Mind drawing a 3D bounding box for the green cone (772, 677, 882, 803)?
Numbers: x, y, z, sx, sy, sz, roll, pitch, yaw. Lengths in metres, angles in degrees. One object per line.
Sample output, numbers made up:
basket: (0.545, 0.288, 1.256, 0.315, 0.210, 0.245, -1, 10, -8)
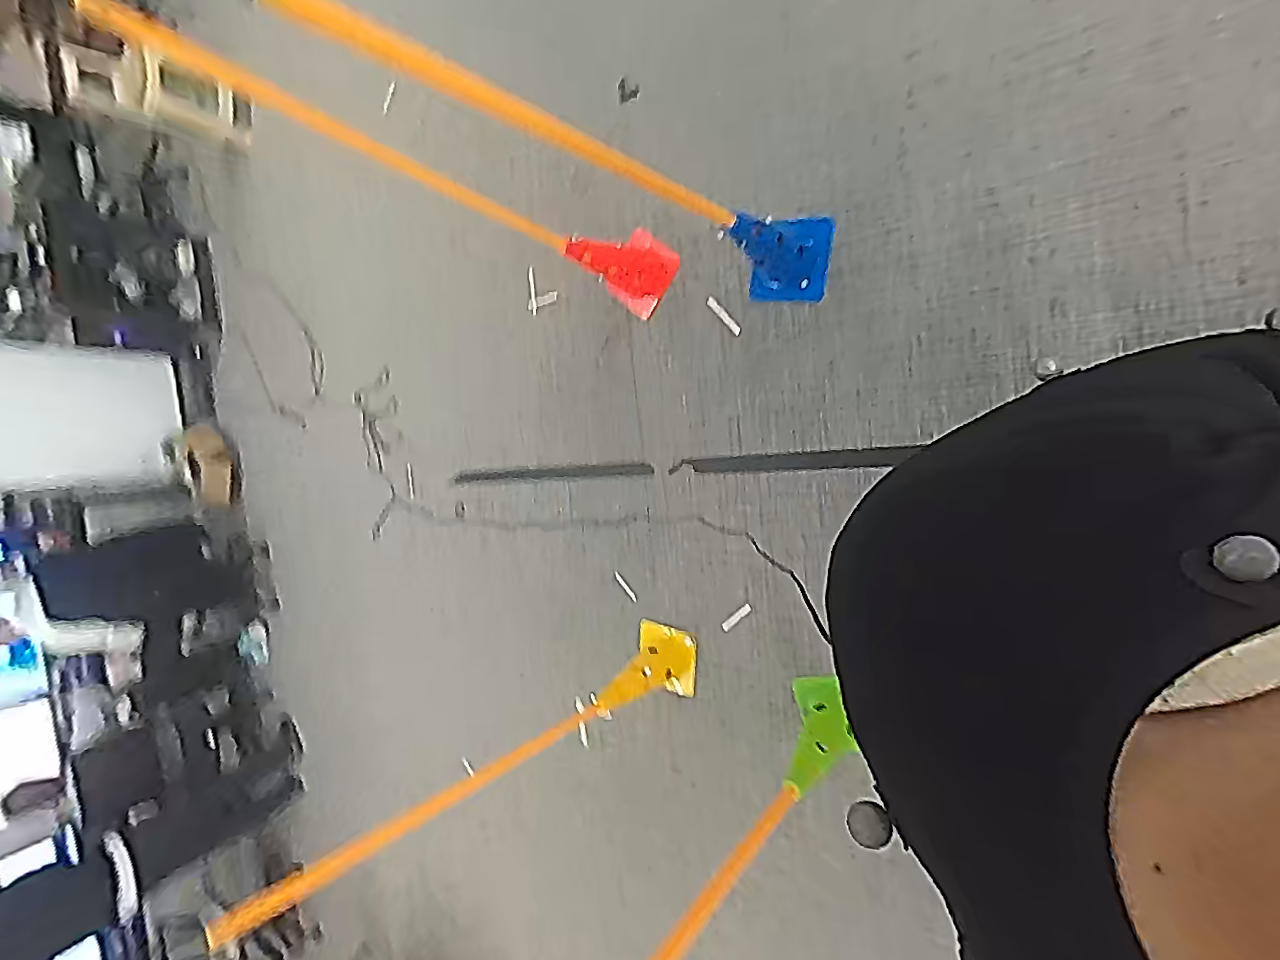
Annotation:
green cone: (0.402, 0.629, 1.266, 0.202, 0.368, 0.200, -19, 84, 37)

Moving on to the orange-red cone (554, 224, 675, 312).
orange-red cone: (-0.097, -0.608, 1.465, 0.199, 0.360, 0.198, 46, 120, 20)

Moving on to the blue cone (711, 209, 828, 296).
blue cone: (0.274, -0.545, 1.229, 0.192, 0.380, 0.193, 16, 105, 34)
